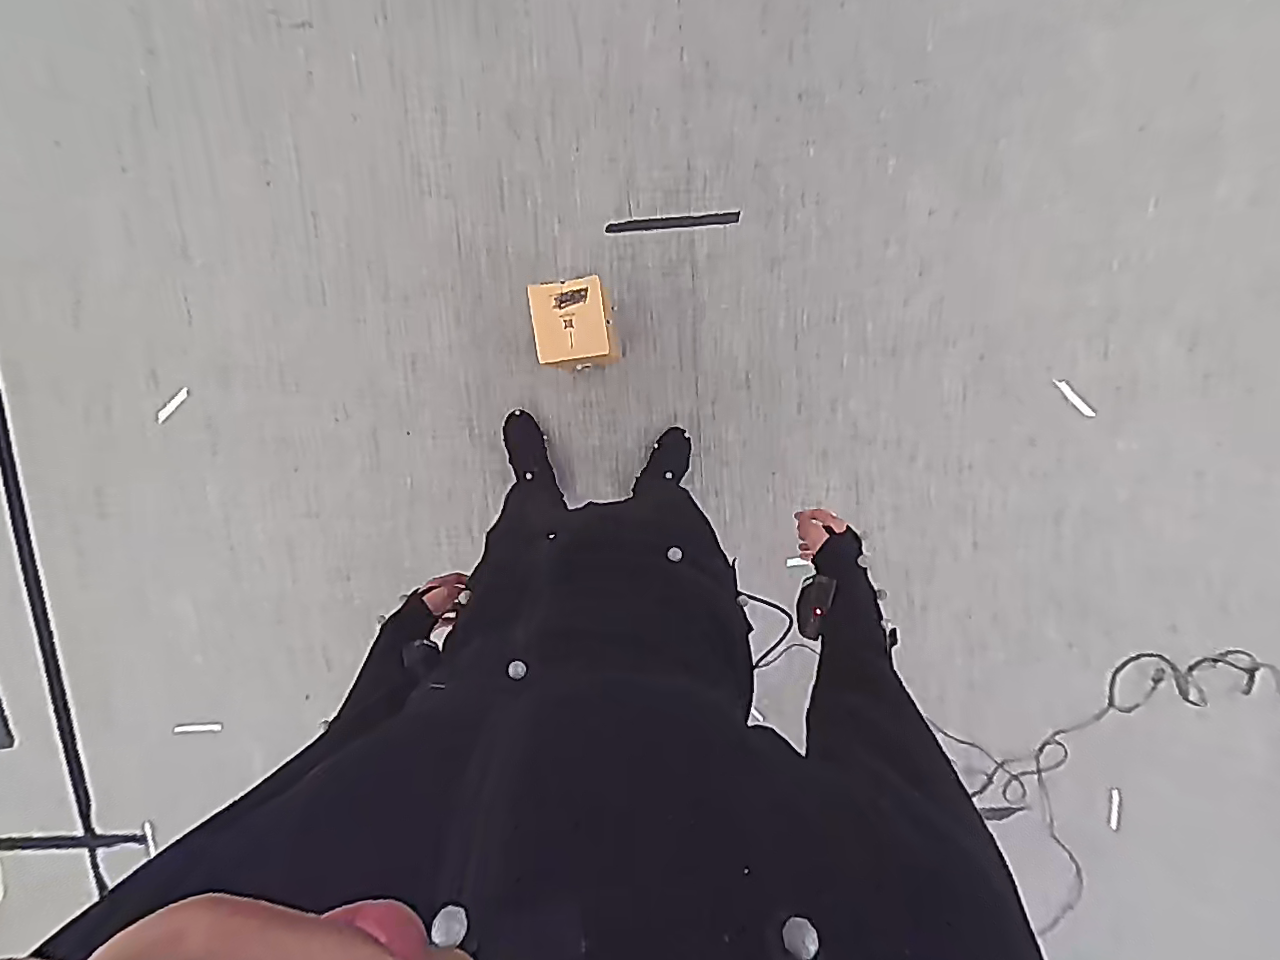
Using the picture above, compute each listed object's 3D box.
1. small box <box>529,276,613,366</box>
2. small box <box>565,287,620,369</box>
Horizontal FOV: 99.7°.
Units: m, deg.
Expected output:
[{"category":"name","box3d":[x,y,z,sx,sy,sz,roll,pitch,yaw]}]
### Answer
[{"category":"small box","box3d":[-0.158,-0.374,1.298,0.168,0.176,0.179,-7,99,2]},{"category":"small box","box3d":[-0.149,-0.403,1.459,0.168,0.176,0.179,-9,98,2]}]
